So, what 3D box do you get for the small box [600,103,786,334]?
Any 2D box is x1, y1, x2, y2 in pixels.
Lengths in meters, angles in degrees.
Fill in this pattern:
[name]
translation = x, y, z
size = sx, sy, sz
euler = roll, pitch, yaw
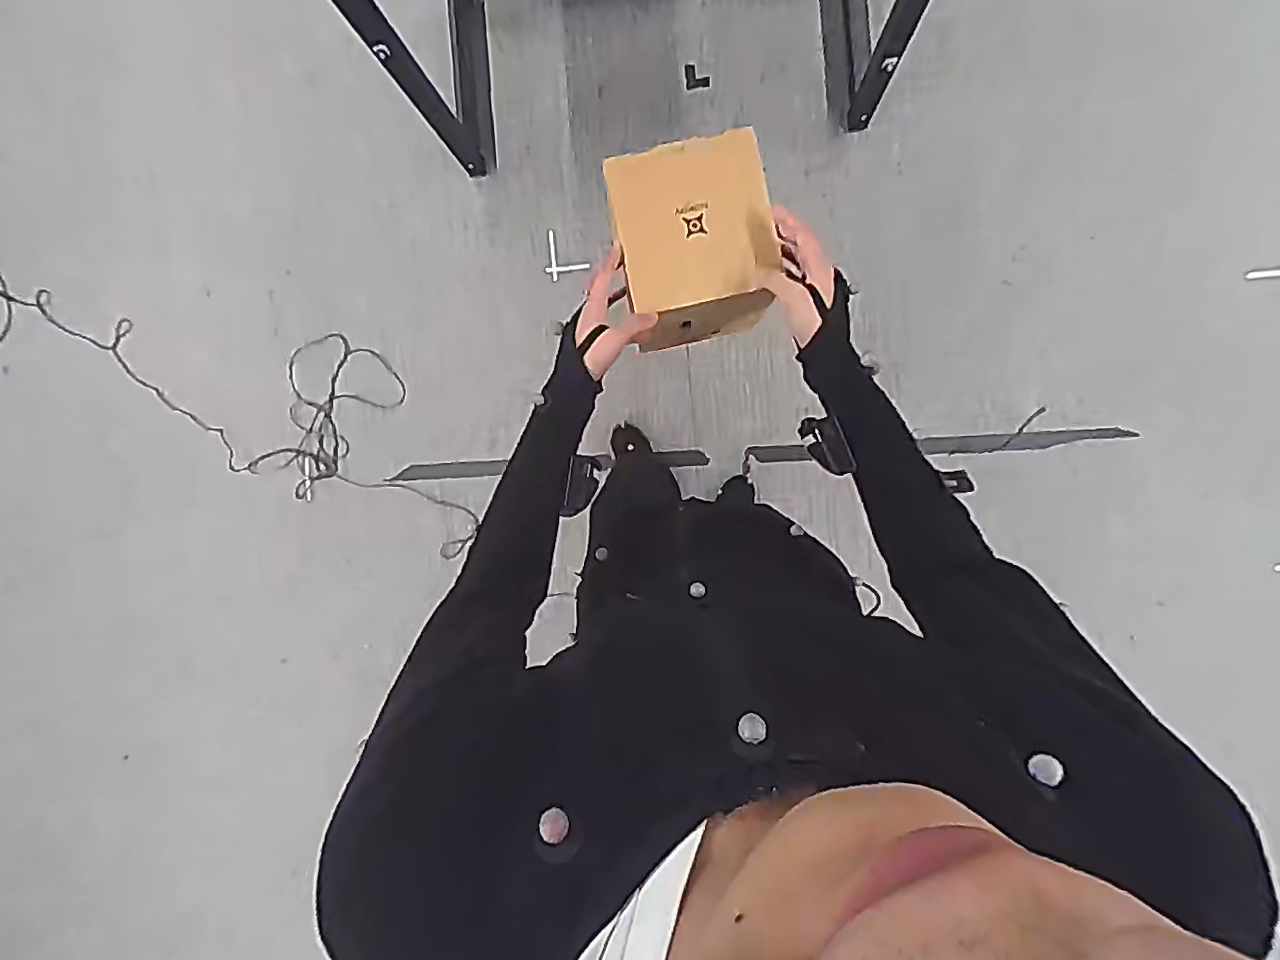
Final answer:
[small box]
translation = 0.057, -0.284, 0.633
size = 0.168, 0.176, 0.179
euler = -12, 87, 1
